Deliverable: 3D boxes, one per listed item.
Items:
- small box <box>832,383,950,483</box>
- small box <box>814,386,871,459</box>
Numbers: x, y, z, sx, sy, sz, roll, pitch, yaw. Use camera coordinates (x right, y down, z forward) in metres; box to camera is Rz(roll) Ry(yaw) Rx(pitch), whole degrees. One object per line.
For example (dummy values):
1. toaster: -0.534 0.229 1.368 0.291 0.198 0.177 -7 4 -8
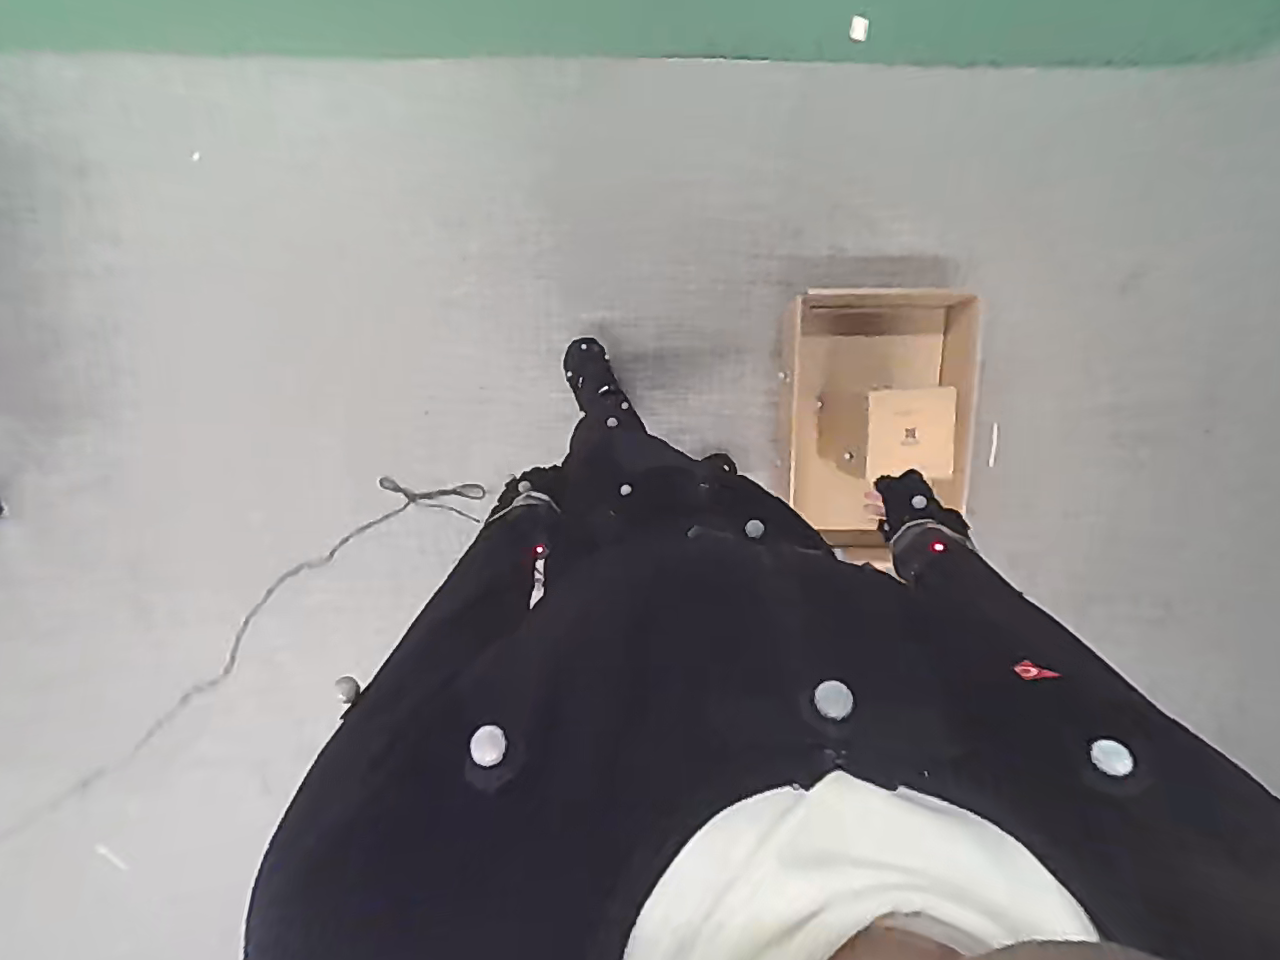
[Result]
1. small box: 0.500 -0.100 1.095 0.168 0.176 0.179 -6 100 1
2. small box: 0.520 -0.135 1.270 0.179 0.176 0.168 0 99 1
